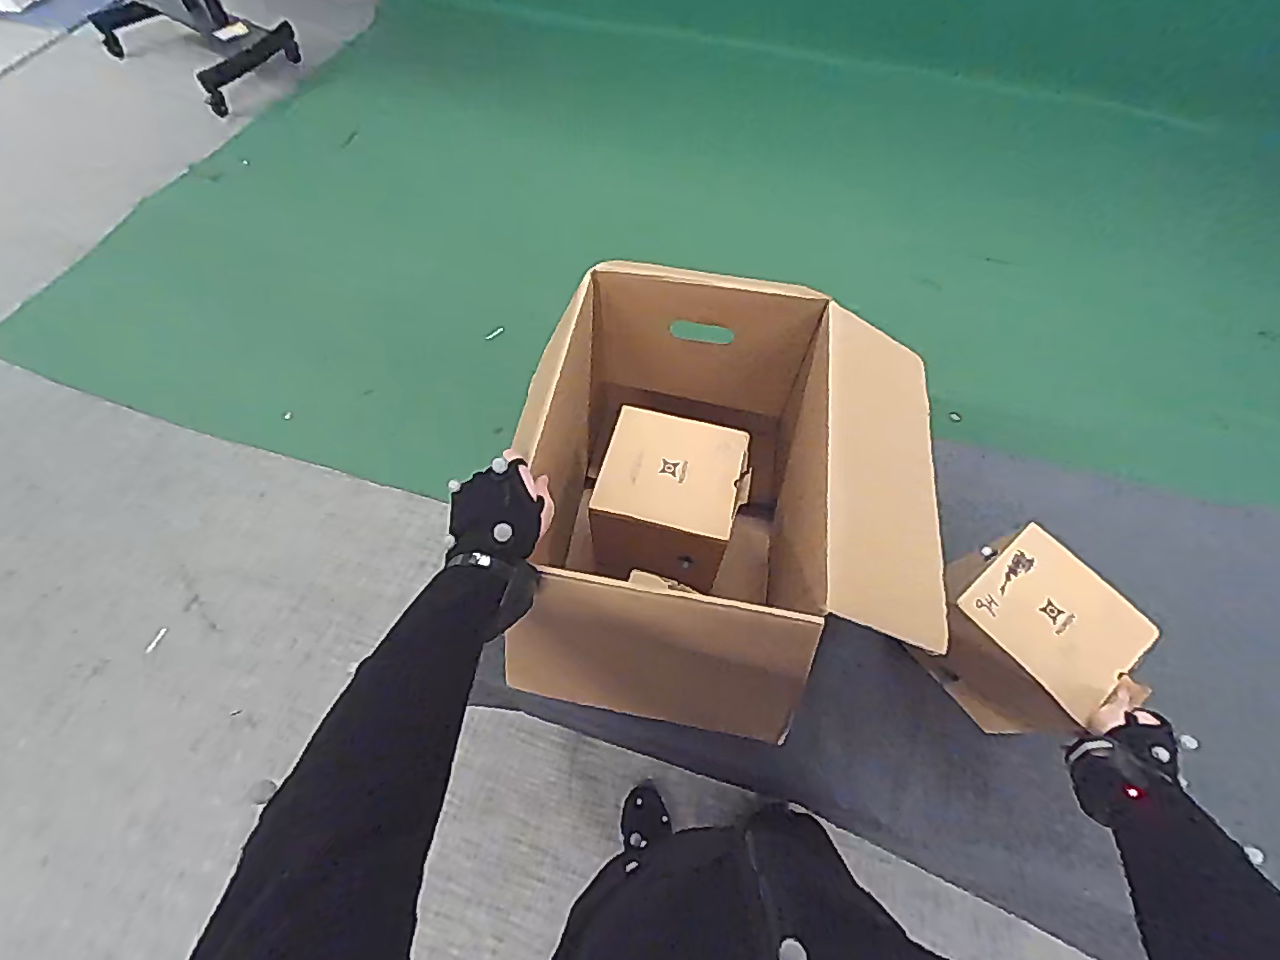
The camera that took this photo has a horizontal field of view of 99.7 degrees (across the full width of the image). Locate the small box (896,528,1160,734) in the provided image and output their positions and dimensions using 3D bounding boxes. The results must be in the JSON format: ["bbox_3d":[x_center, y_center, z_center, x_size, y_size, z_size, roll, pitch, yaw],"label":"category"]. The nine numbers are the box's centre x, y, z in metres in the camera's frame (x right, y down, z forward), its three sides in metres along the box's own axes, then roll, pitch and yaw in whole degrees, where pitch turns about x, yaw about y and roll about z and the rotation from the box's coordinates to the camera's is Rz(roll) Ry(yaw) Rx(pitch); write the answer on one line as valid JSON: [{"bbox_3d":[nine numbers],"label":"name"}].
[{"bbox_3d":[0.477,0.195,0.694,0.168,0.176,0.179,-34,71,-15],"label":"small box"}]
